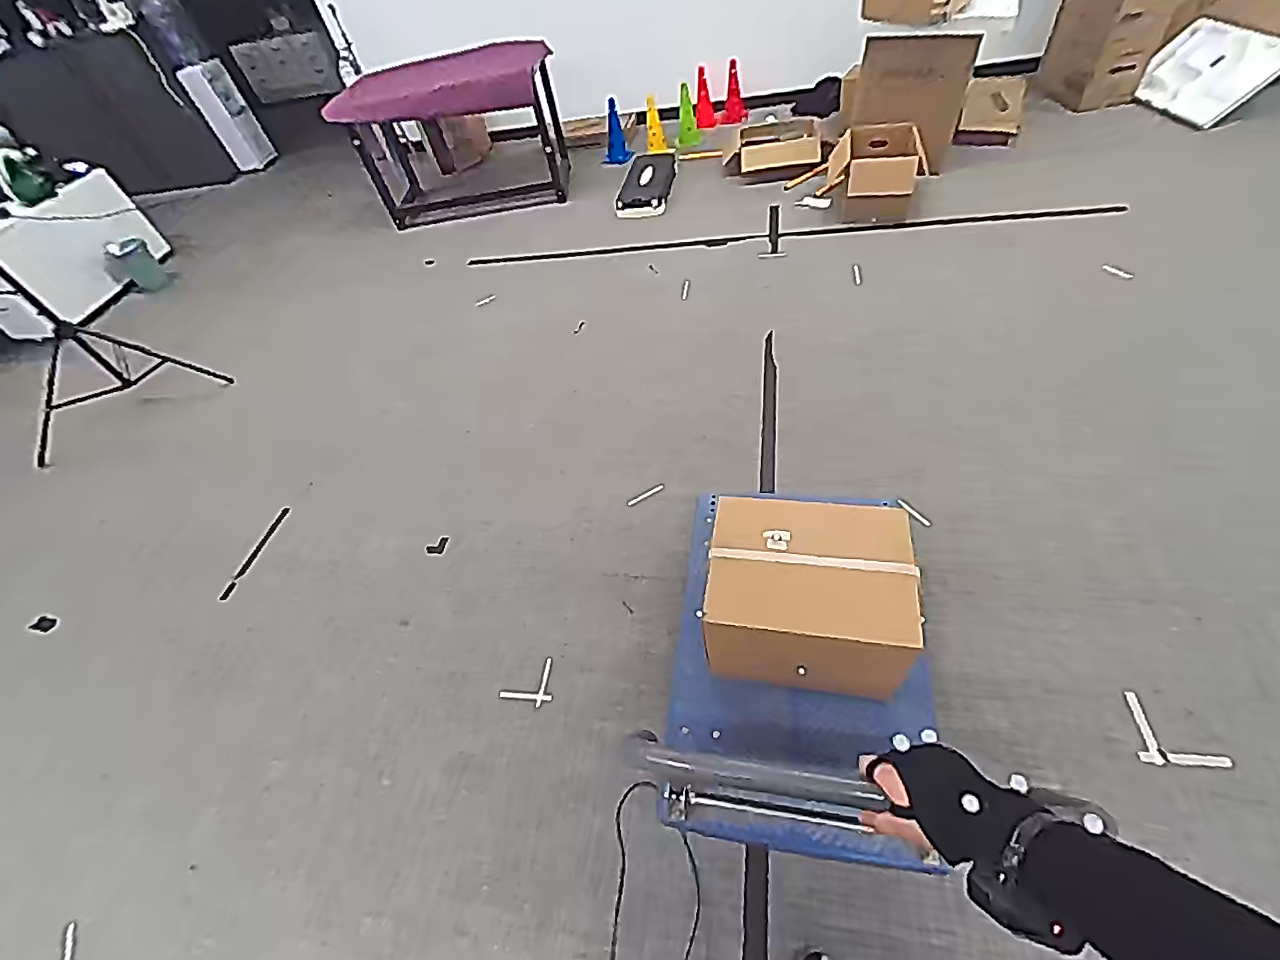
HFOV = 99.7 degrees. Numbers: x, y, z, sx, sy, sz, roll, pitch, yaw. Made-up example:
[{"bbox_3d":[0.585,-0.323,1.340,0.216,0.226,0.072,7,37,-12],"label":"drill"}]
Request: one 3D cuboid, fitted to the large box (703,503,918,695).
[{"bbox_3d":[0.373,0.272,1.239,0.408,0.320,0.320,3,51,15],"label":"large box"}]
